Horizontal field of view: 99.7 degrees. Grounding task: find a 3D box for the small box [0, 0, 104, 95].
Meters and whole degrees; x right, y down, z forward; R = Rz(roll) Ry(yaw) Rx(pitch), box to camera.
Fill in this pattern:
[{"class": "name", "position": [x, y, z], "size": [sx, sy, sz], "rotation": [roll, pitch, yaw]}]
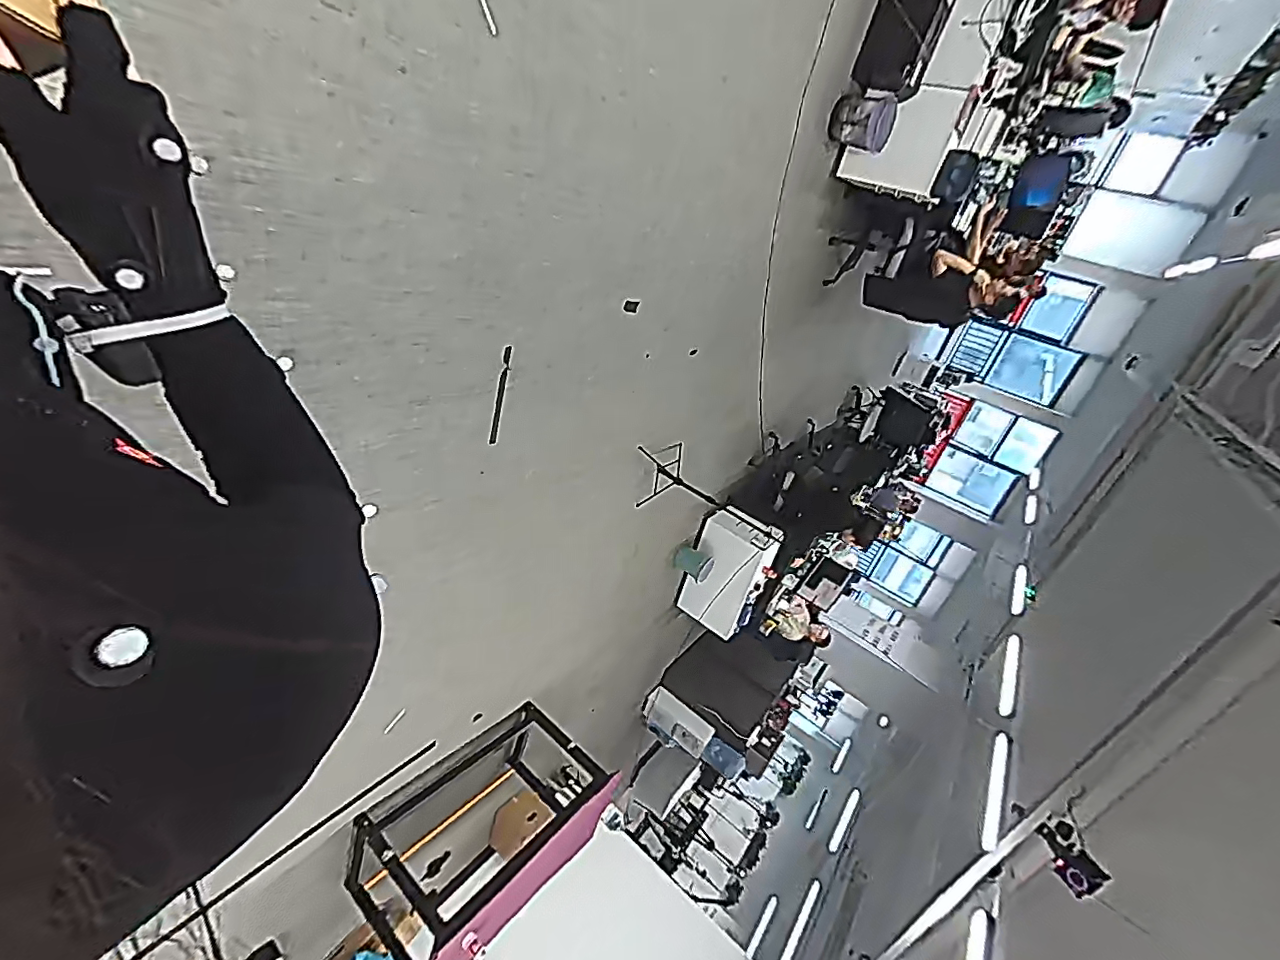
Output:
[{"class": "small box", "position": [-0.411, -0.324, 0.252], "size": [0.179, 0.168, 0.176], "rotation": [-3, 93, -72]}]
